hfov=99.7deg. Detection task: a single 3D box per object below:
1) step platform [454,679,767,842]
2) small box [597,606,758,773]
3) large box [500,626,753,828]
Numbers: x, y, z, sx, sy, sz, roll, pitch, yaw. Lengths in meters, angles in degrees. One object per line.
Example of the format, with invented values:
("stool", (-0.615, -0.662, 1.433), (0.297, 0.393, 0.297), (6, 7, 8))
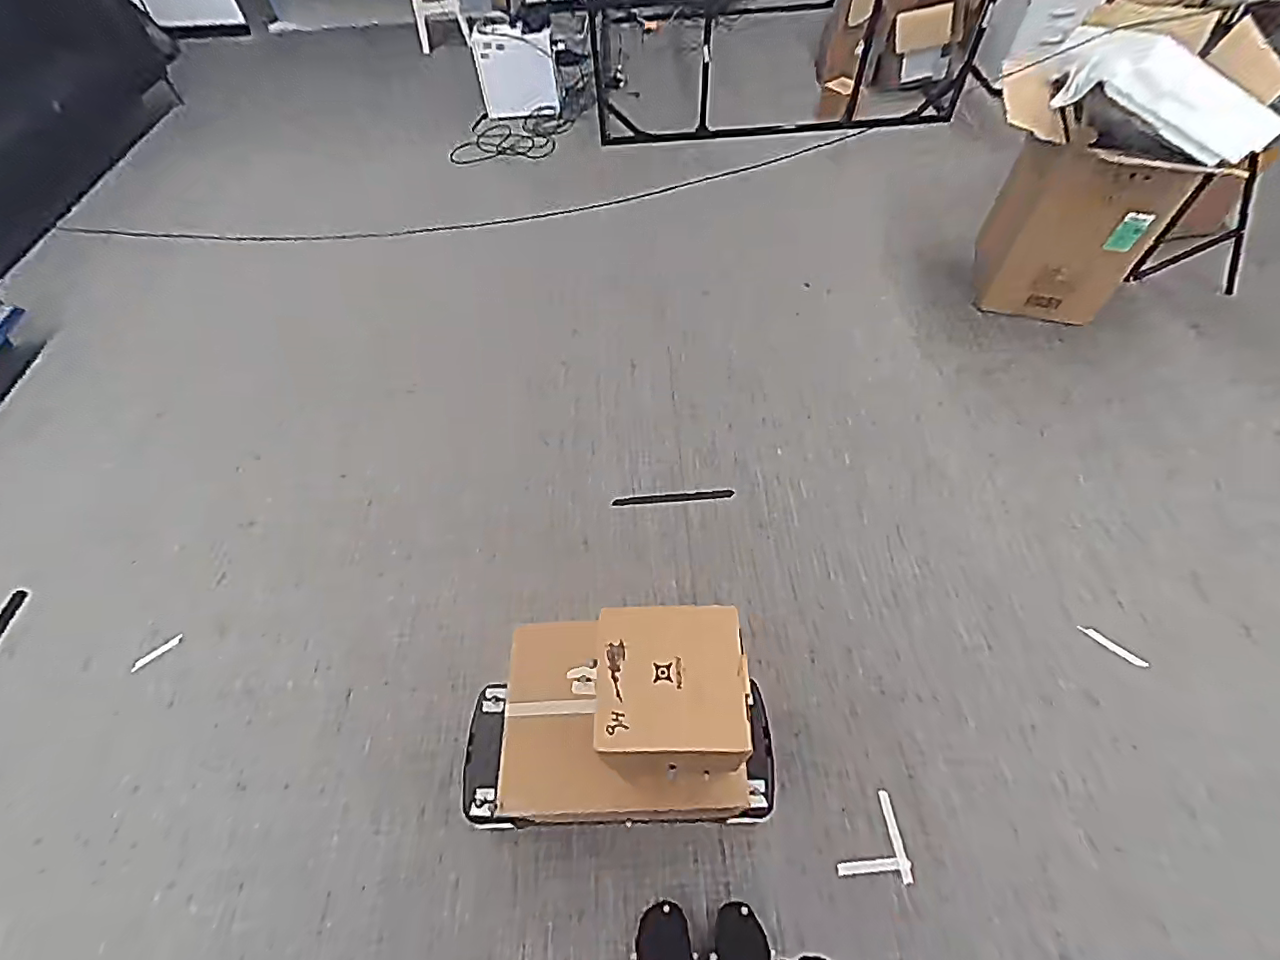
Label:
("step platform", (-0.058, 0.631, 1.232), (0.684, 0.204, 0.286), (1, 55, 5))
("small box", (0.044, 0.269, 0.689), (0.179, 0.176, 0.168), (-1, 55, 2))
("large box", (-0.017, 0.478, 1.045), (0.408, 0.320, 0.320), (-4, 55, 2))
